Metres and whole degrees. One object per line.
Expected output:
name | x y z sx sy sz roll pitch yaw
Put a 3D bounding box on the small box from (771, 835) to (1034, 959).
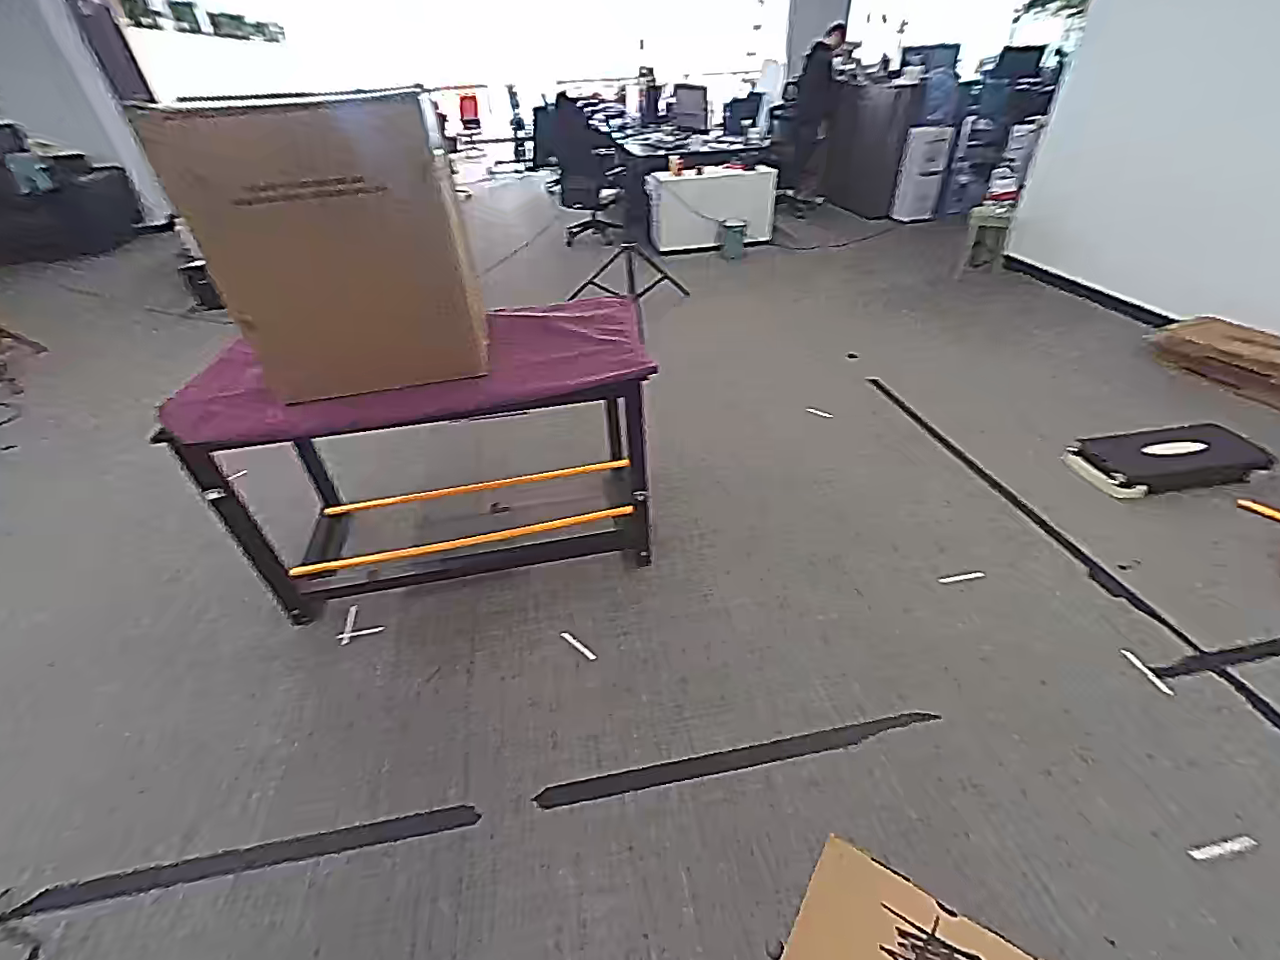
small box | 0.154 0.393 0.344 0.168 0.176 0.179 17 29 31
